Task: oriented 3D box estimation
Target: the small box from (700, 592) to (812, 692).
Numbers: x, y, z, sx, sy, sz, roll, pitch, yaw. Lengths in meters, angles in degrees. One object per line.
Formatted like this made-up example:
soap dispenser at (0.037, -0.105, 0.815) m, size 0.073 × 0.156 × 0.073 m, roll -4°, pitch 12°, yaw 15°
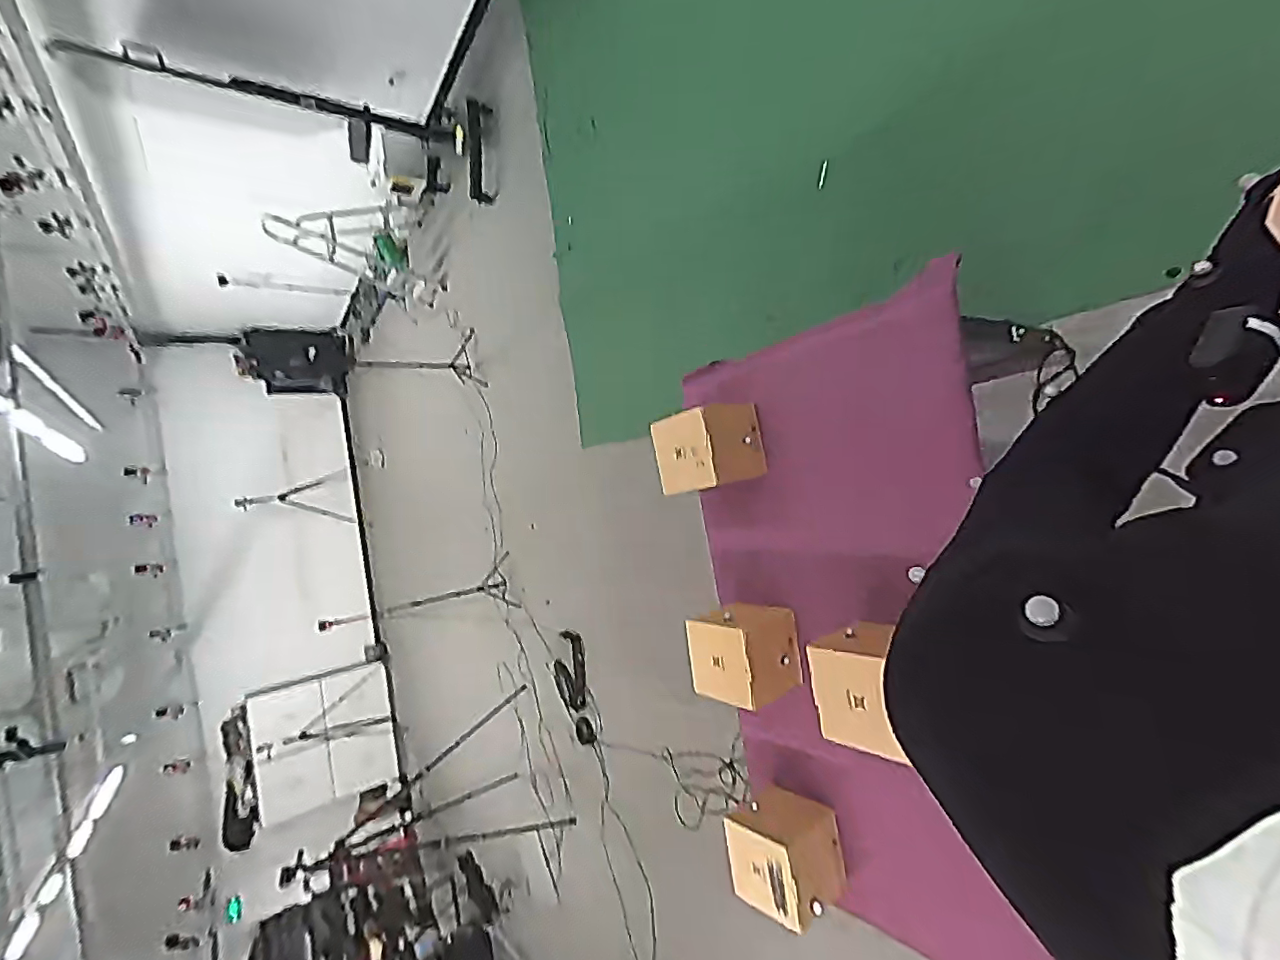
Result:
small box at (0.263, 0.357, 1.230) m, size 0.179 × 0.176 × 0.168 m, roll -8°, pitch 90°, yaw 53°

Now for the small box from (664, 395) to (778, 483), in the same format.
small box at (0.185, -0.093, 1.239) m, size 0.179 × 0.176 × 0.168 m, roll -13°, pitch 89°, yaw 54°
